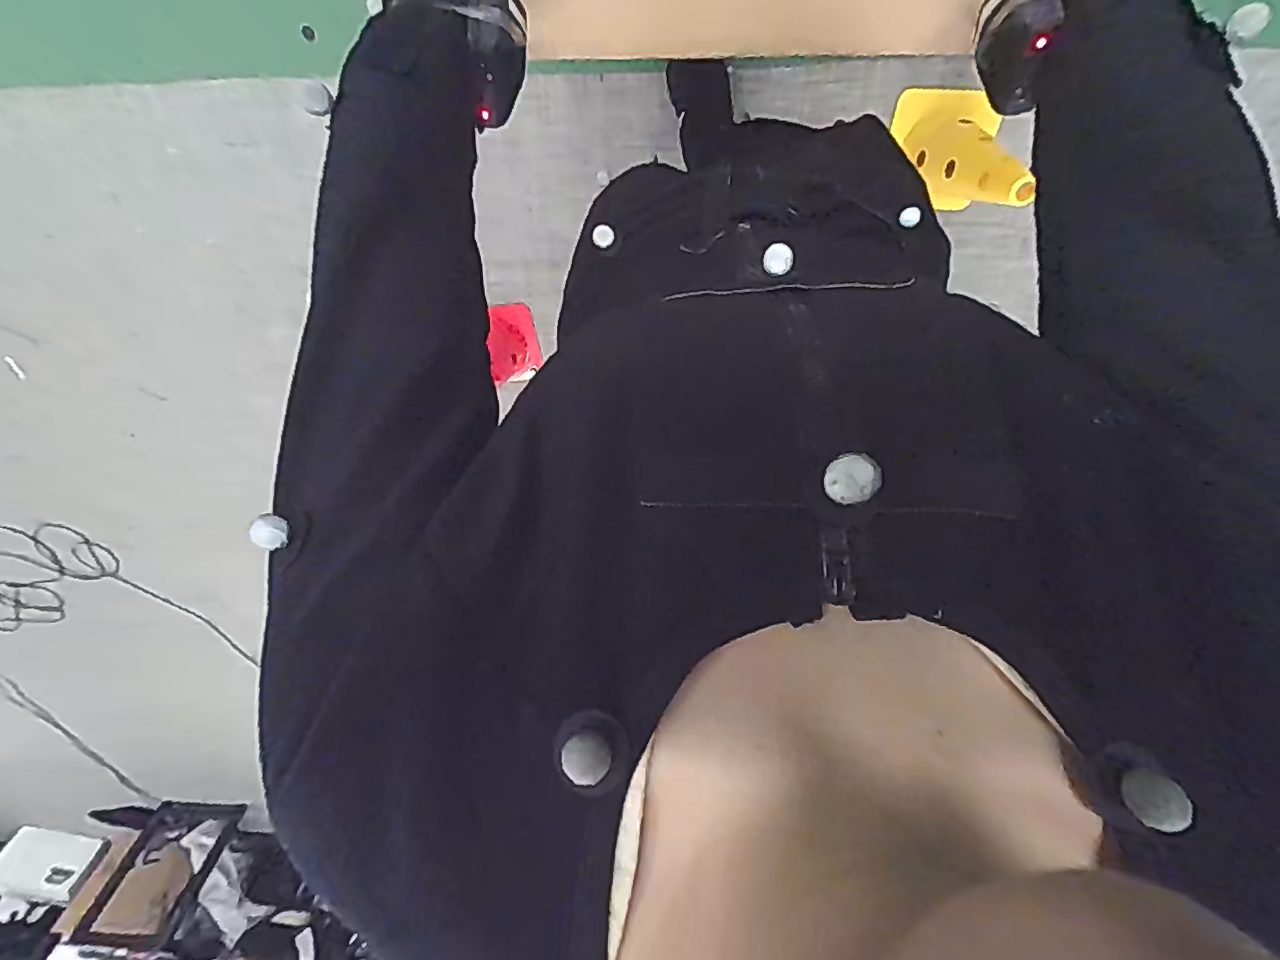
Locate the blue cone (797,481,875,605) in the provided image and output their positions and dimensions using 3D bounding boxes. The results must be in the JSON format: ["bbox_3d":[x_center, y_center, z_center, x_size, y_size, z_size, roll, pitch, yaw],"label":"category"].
[{"bbox_3d":[0.553,0.178,1.453,0.192,0.380,0.193,2,128,4],"label":"blue cone"}]

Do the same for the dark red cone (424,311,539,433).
[{"bbox_3d":[-0.372,-0.215,1.187,0.202,0.394,0.201,-4,124,9],"label":"dark red cone"}]
